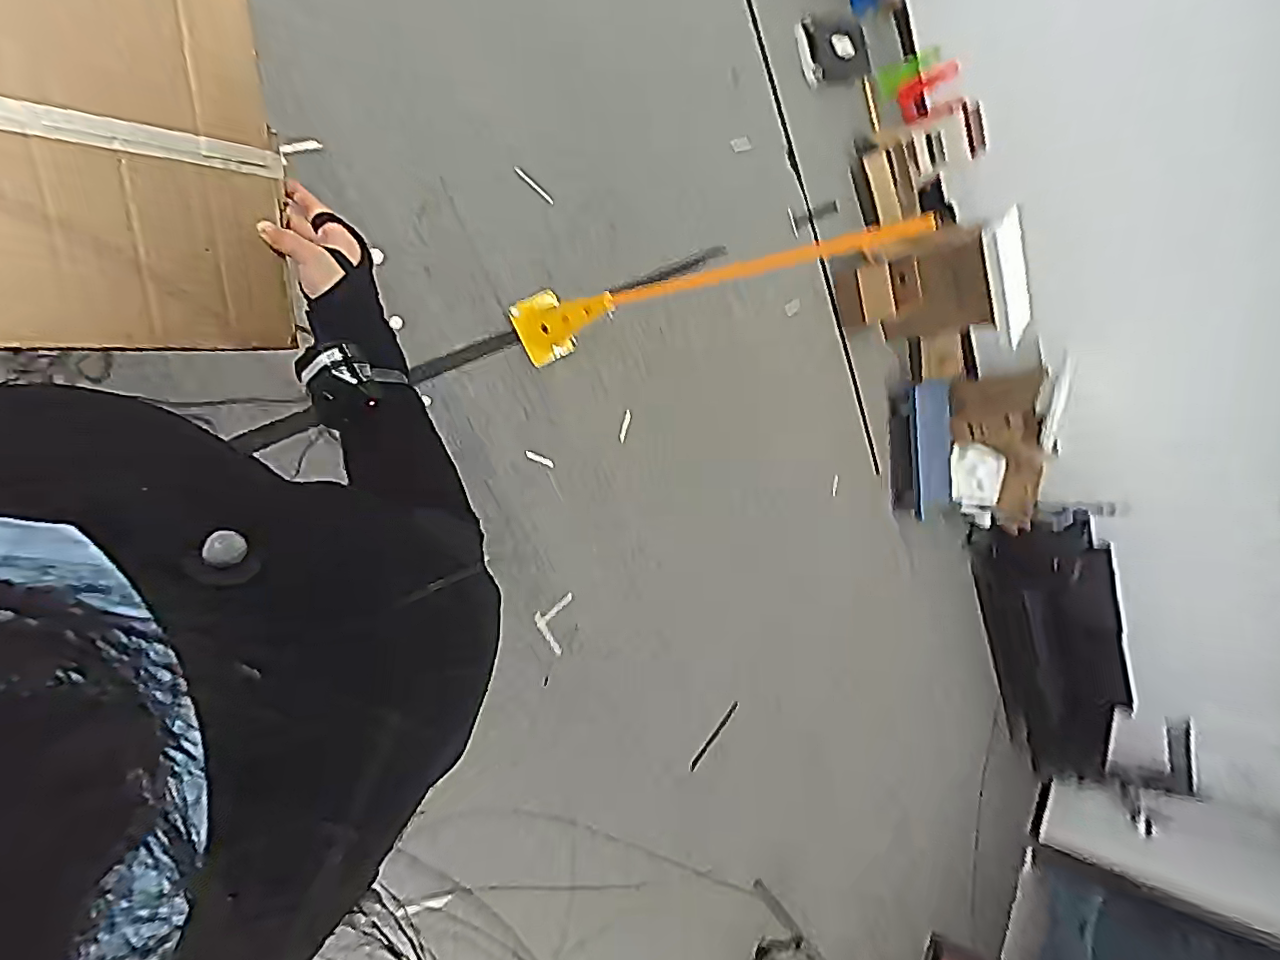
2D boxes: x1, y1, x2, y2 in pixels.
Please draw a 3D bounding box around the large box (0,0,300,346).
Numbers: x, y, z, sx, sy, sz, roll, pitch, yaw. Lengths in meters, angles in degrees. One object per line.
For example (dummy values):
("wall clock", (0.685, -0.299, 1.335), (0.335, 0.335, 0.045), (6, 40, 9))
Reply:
("large box", (-0.574, -0.283, 0.475), (0.408, 0.320, 0.320), (-10, 107, -40))
